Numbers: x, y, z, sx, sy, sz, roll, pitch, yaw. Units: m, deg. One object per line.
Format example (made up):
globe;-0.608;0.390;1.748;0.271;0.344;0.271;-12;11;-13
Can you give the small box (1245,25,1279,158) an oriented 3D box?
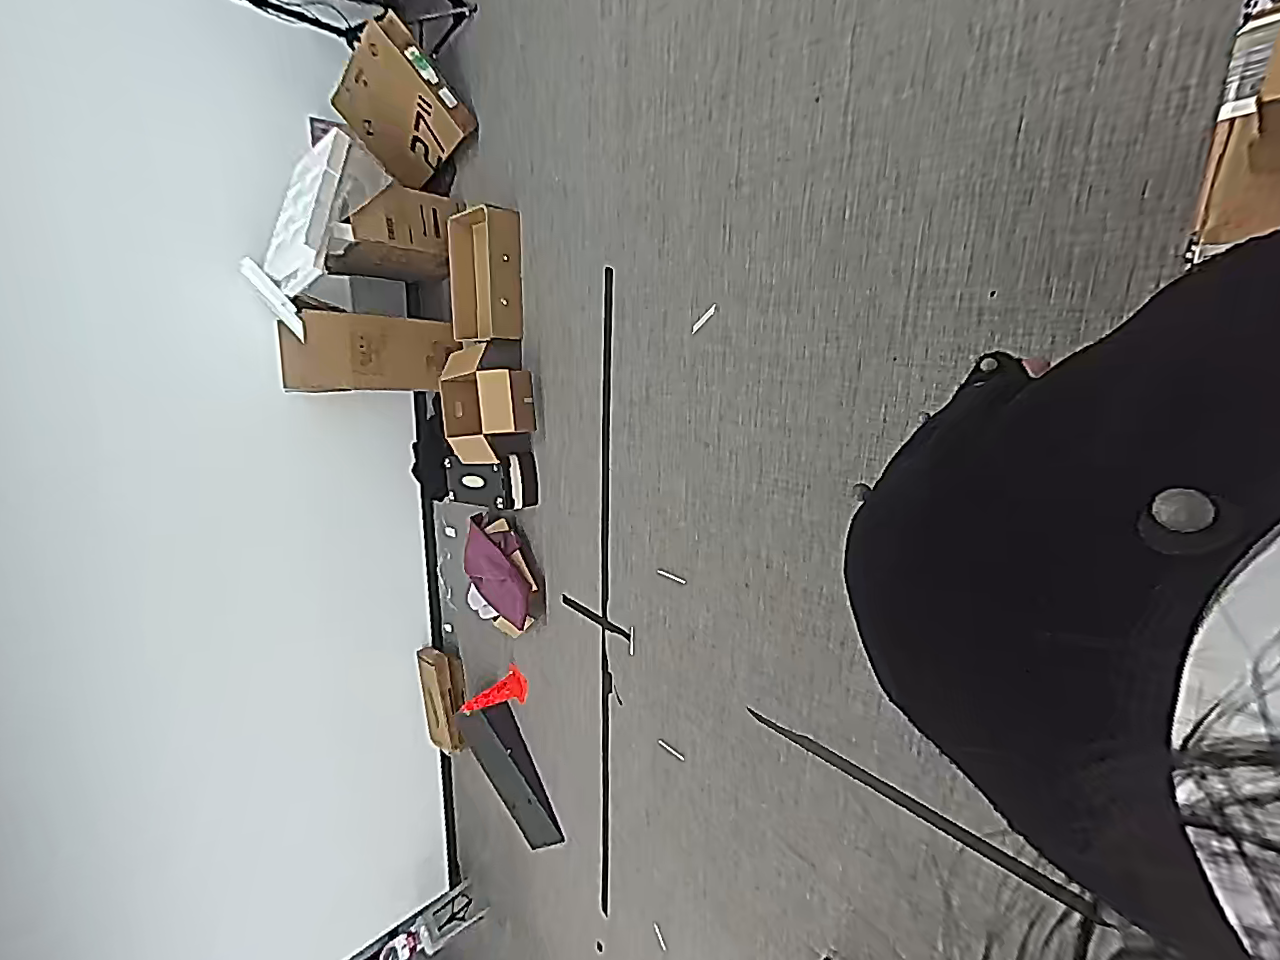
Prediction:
small box;0.743;-0.432;0.527;0.168;0.176;0.179;19;115;45

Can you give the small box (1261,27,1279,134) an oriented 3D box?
small box;0.629;-0.394;0.416;0.168;0.176;0.179;20;116;46
